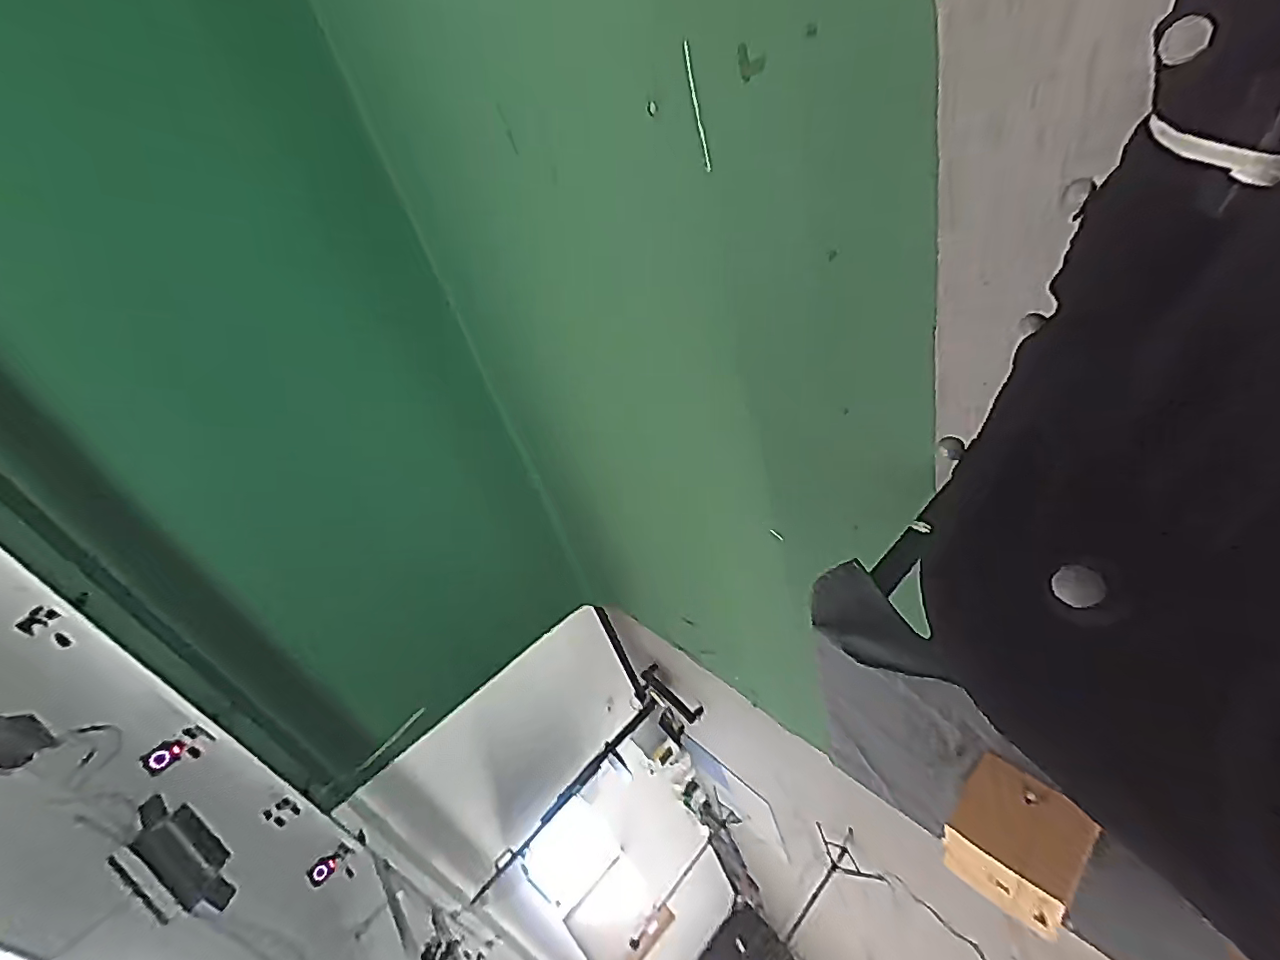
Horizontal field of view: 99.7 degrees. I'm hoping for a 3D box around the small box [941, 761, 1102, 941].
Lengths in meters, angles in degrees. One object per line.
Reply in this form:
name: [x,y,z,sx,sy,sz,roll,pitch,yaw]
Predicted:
small box: [0.657,0.628,0.943,0.179,0.176,0.168,23,141,47]
